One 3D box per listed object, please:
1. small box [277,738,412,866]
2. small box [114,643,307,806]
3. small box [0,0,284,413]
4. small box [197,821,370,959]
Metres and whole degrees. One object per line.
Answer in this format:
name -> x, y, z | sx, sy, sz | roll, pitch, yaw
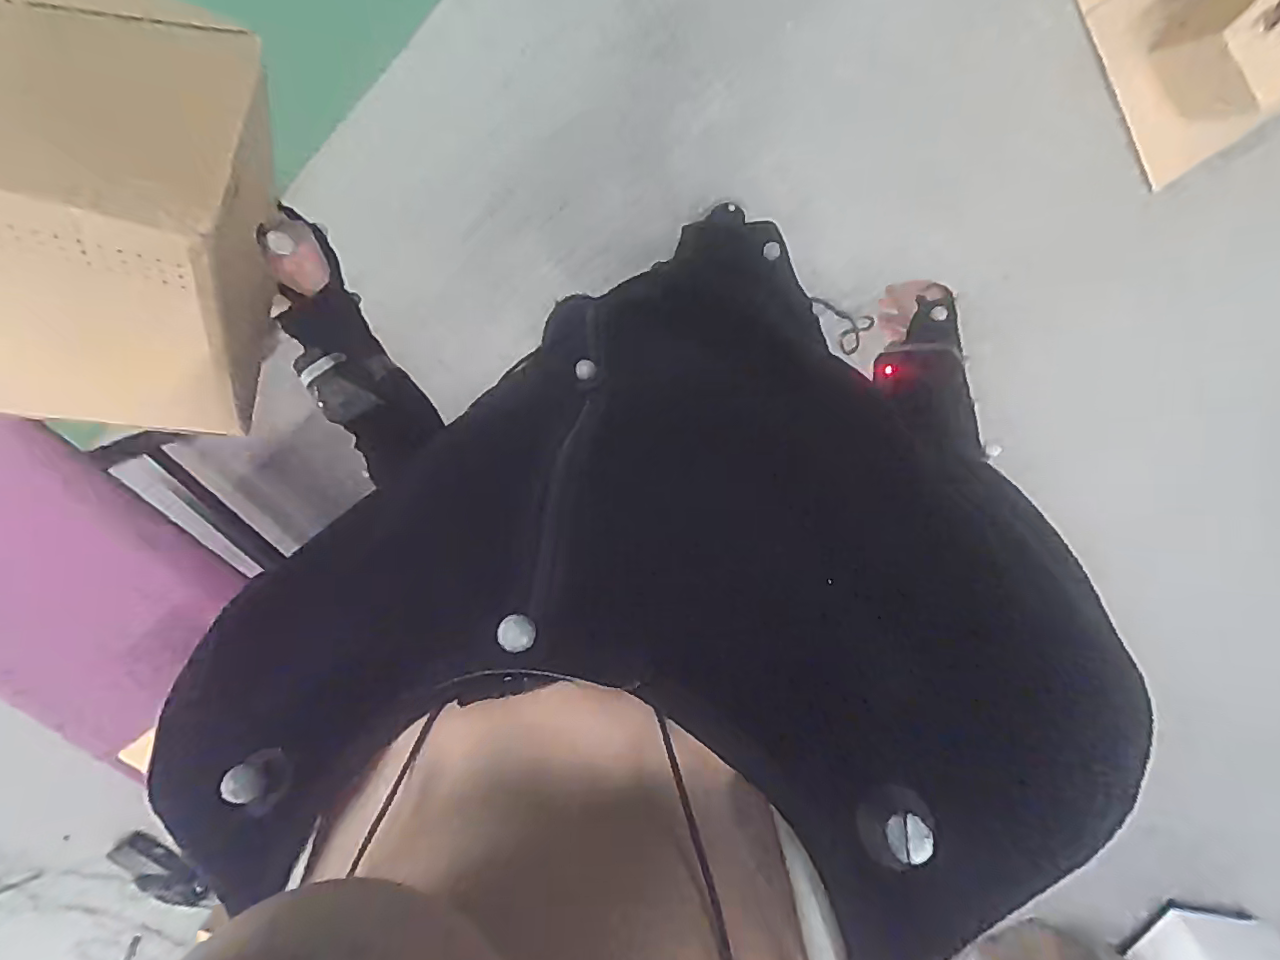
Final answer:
small box -> -0.570, 0.633, 1.039 | 0.179, 0.176, 0.168 | 26, 115, -9
small box -> -0.739, 0.426, 0.952 | 0.179, 0.176, 0.168 | -32, 110, 19
small box -> -0.294, -0.156, 0.272 | 0.179, 0.168, 0.176 | 7, 151, -30
small box -> -0.569, 0.698, 0.887 | 0.179, 0.176, 0.168 | 16, 116, -2
